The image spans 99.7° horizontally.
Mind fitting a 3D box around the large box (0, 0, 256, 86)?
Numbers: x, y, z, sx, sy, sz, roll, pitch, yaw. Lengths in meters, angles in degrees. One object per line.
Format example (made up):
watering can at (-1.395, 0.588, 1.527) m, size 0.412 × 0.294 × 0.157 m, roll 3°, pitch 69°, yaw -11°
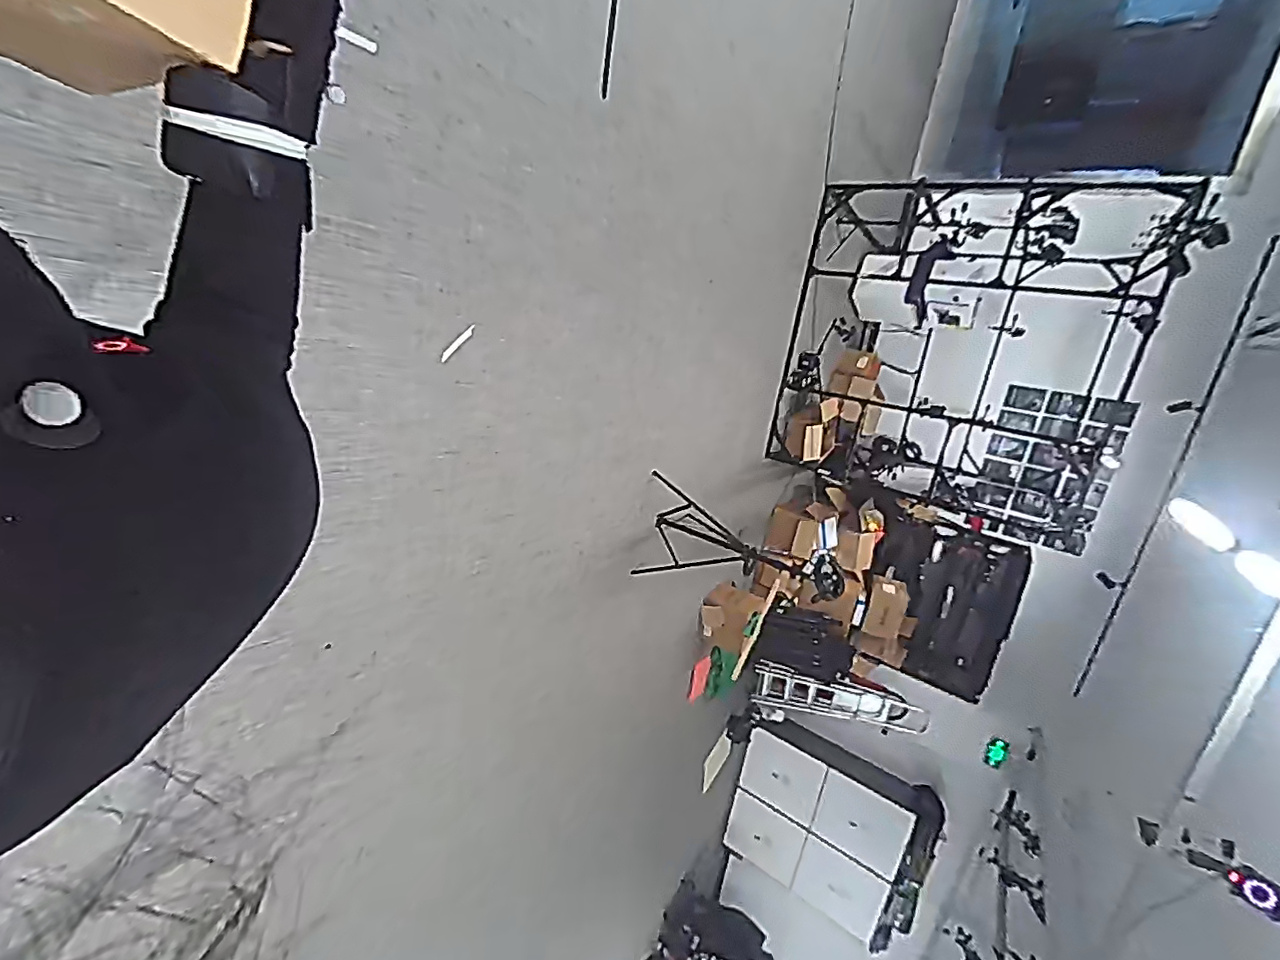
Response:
large box at (-0.438, -0.462, 0.235) m, size 0.408 × 0.320 × 0.320 m, roll 5°, pitch 106°, yaw -59°
